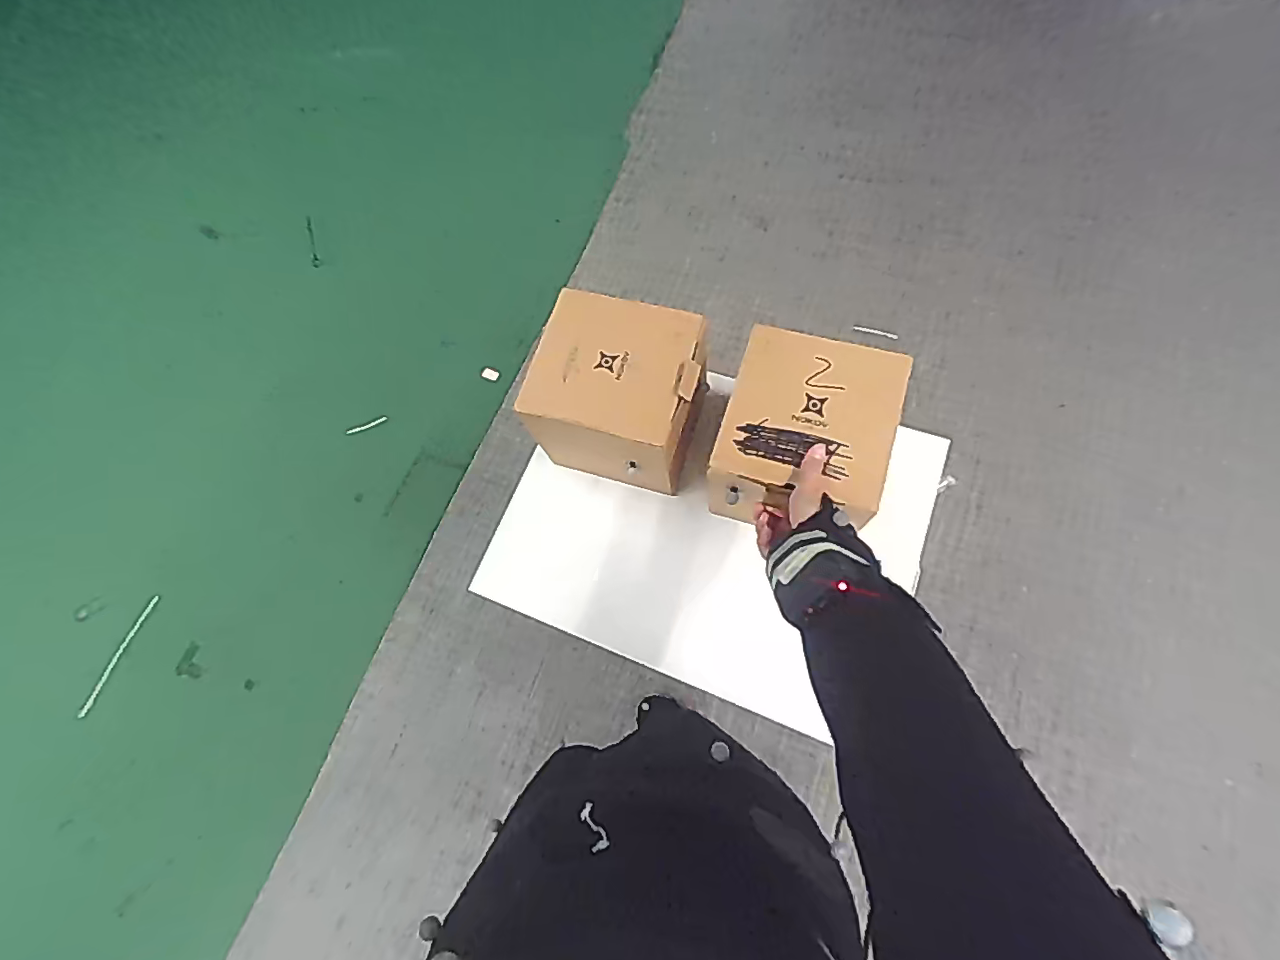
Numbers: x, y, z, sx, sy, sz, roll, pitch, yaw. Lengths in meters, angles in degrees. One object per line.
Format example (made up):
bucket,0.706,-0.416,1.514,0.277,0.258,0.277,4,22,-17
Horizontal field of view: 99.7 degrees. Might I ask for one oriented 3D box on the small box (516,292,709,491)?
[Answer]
small box,-0.020,-0.098,0.664,0.179,0.176,0.168,14,72,12
